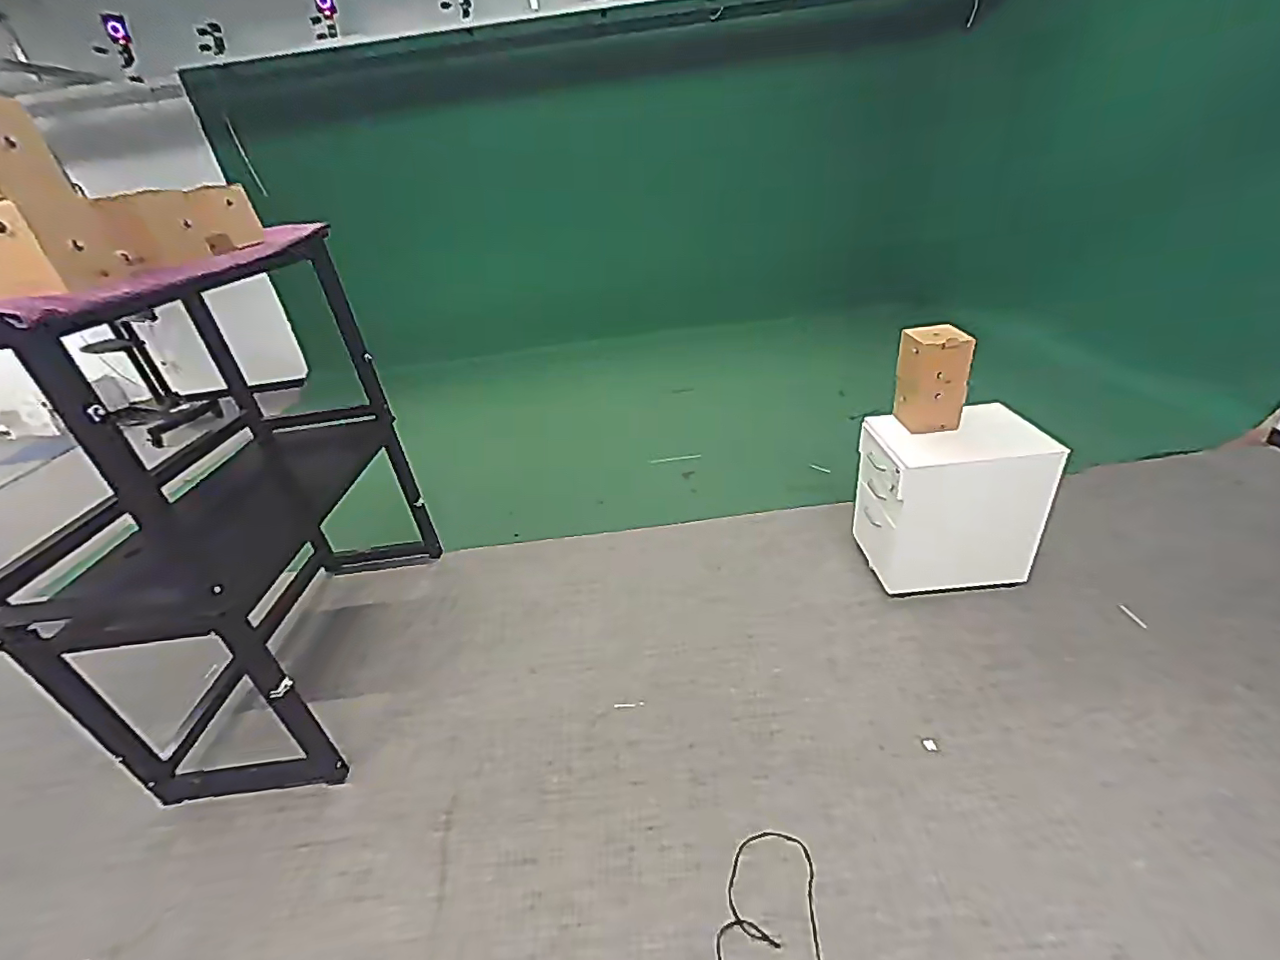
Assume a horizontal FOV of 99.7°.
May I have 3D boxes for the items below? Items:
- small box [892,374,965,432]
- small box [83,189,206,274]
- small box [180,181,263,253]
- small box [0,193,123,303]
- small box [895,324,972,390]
[{"bbox_3d":[1.032,-0.287,1.954,0.168,0.176,0.179,-6,31,2],"label":"small box"},{"bbox_3d":[-1.248,-0.624,1.358,0.168,0.176,0.179,-9,32,0],"label":"small box"},{"bbox_3d":[-1.292,-0.788,1.633,0.168,0.176,0.179,-9,31,3],"label":"small box"},{"bbox_3d":[-1.197,-0.457,1.063,0.179,0.176,0.168,-8,30,-1],"label":"small box"},{"bbox_3d":[1.007,-0.426,1.873,0.168,0.176,0.179,-6,33,2],"label":"small box"}]
